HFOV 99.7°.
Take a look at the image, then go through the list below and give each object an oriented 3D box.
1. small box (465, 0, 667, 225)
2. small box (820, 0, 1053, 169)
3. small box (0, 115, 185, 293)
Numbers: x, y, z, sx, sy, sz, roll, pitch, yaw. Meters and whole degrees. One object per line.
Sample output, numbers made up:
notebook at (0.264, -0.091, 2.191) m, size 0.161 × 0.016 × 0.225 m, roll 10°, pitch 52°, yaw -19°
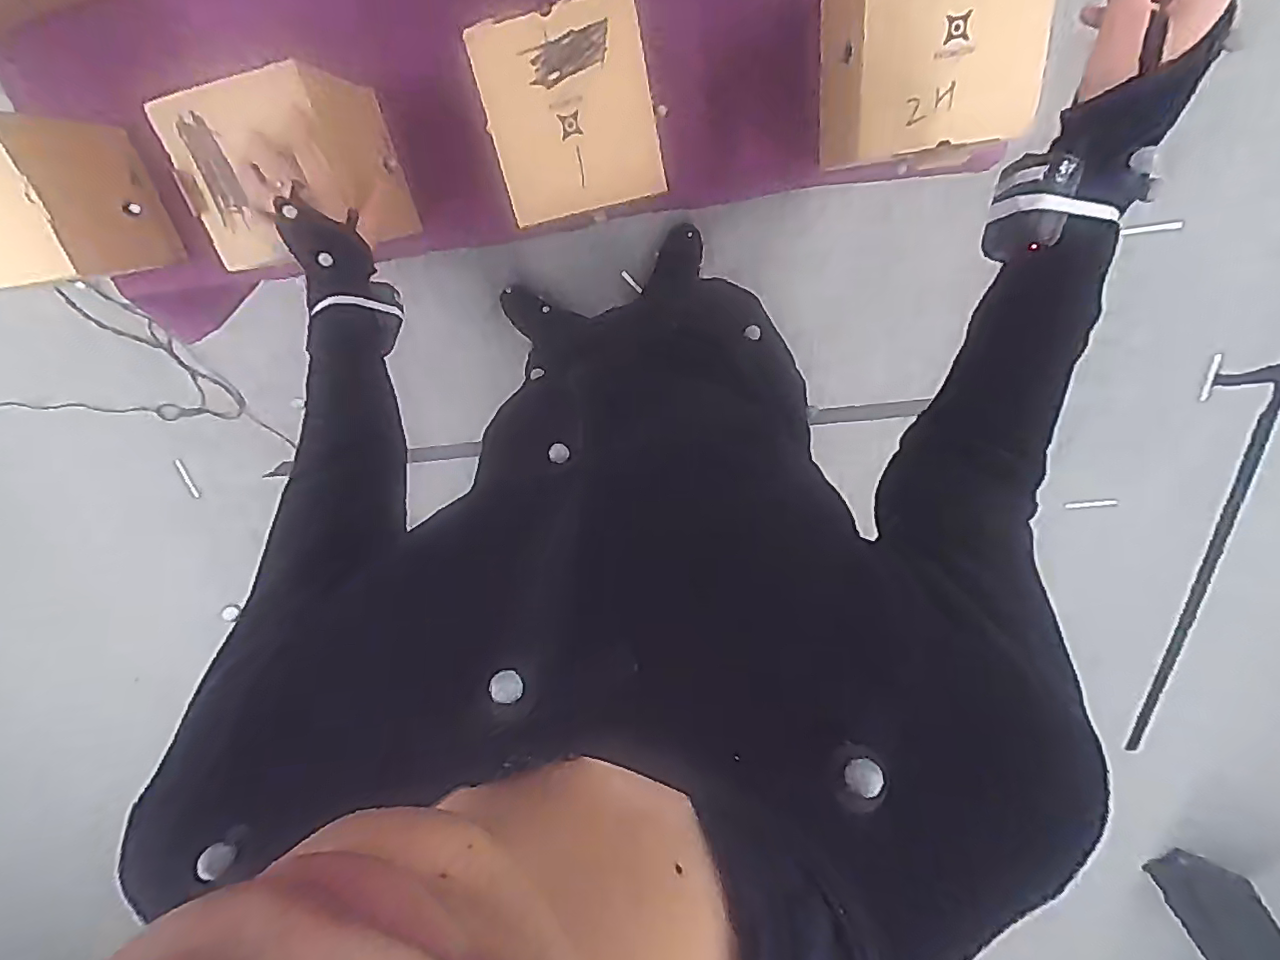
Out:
small box at (-0.066, -0.398, 0.606) m, size 0.168 × 0.176 × 0.179 m, roll -10°, pitch 117°, yaw 9°
small box at (0.289, -0.439, 0.562) m, size 0.168 × 0.176 × 0.179 m, roll -5°, pitch 117°, yaw 7°
small box at (-0.743, -0.335, 0.677) m, size 0.179 × 0.176 × 0.168 m, roll -8°, pitch 117°, yaw 6°
